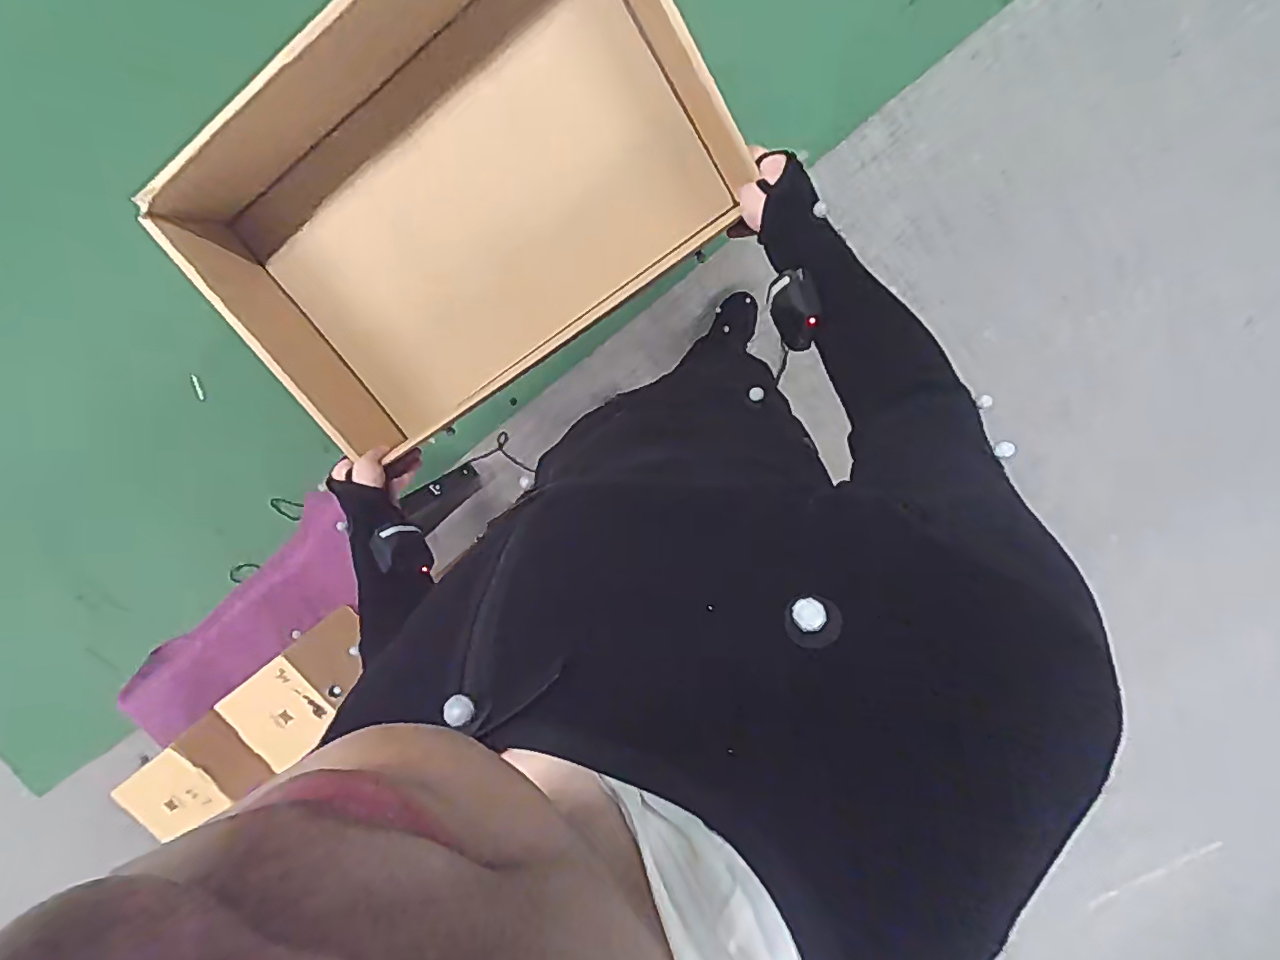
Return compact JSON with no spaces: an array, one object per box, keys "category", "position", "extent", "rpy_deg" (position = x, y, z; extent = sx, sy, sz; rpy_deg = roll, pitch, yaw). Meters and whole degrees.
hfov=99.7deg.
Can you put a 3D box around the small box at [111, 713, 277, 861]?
[{"category":"small box","position":[-0.783,0.536,0.994],"extent":[0.179,0.176,0.168],"rpy_deg":[-36,100,11]}]

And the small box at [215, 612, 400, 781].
[{"category":"small box","position":[-0.560,0.365,0.935],"extent":[0.179,0.176,0.168],"rpy_deg":[-35,99,14]}]
